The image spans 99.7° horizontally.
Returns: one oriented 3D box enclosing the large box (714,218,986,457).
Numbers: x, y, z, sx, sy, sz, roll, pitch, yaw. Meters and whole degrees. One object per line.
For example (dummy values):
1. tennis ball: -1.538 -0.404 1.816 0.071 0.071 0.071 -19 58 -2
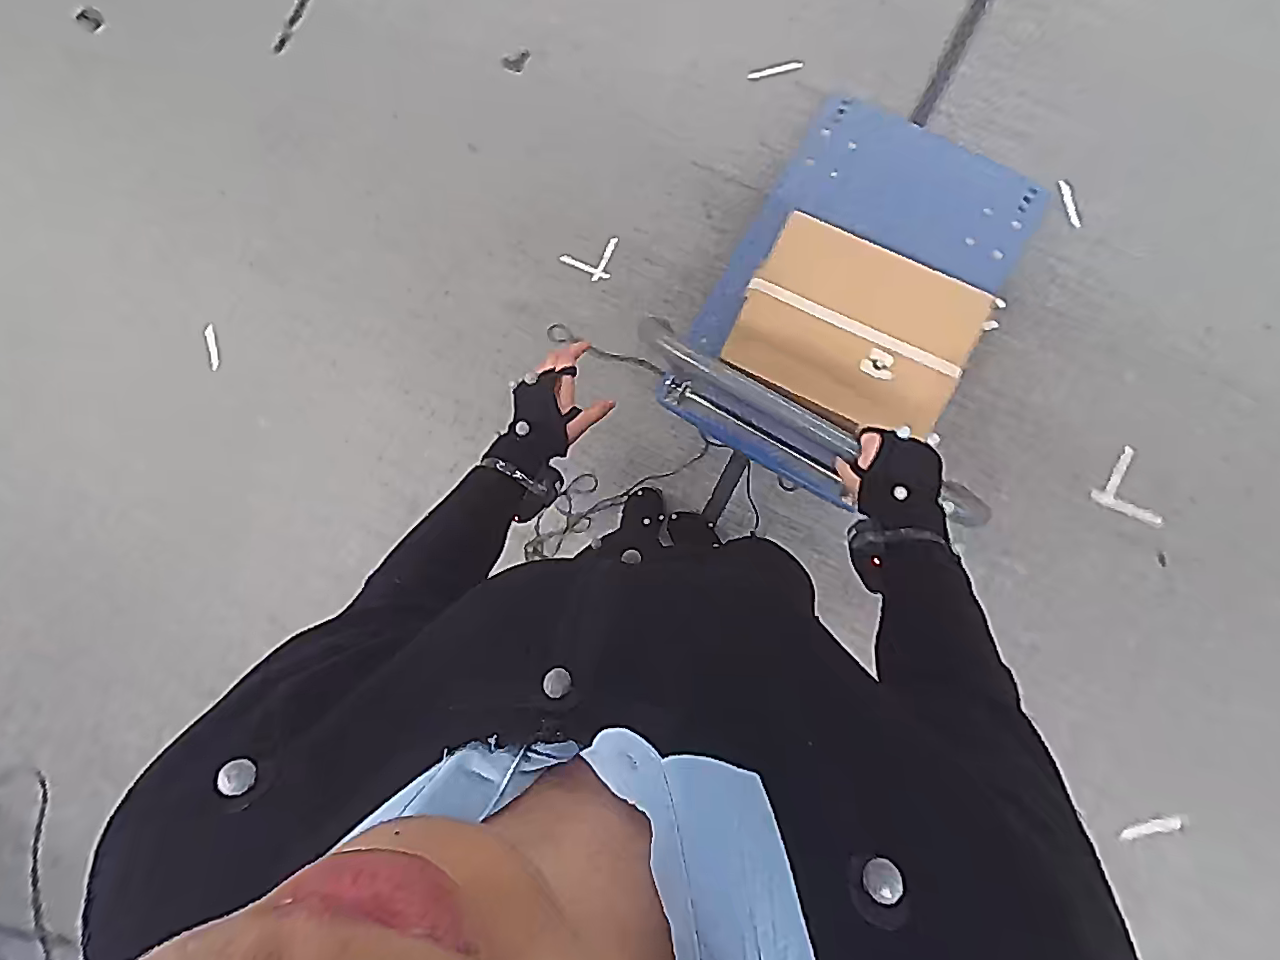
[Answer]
1. large box: 0.407 -0.278 1.160 0.408 0.320 0.320 26 92 6
